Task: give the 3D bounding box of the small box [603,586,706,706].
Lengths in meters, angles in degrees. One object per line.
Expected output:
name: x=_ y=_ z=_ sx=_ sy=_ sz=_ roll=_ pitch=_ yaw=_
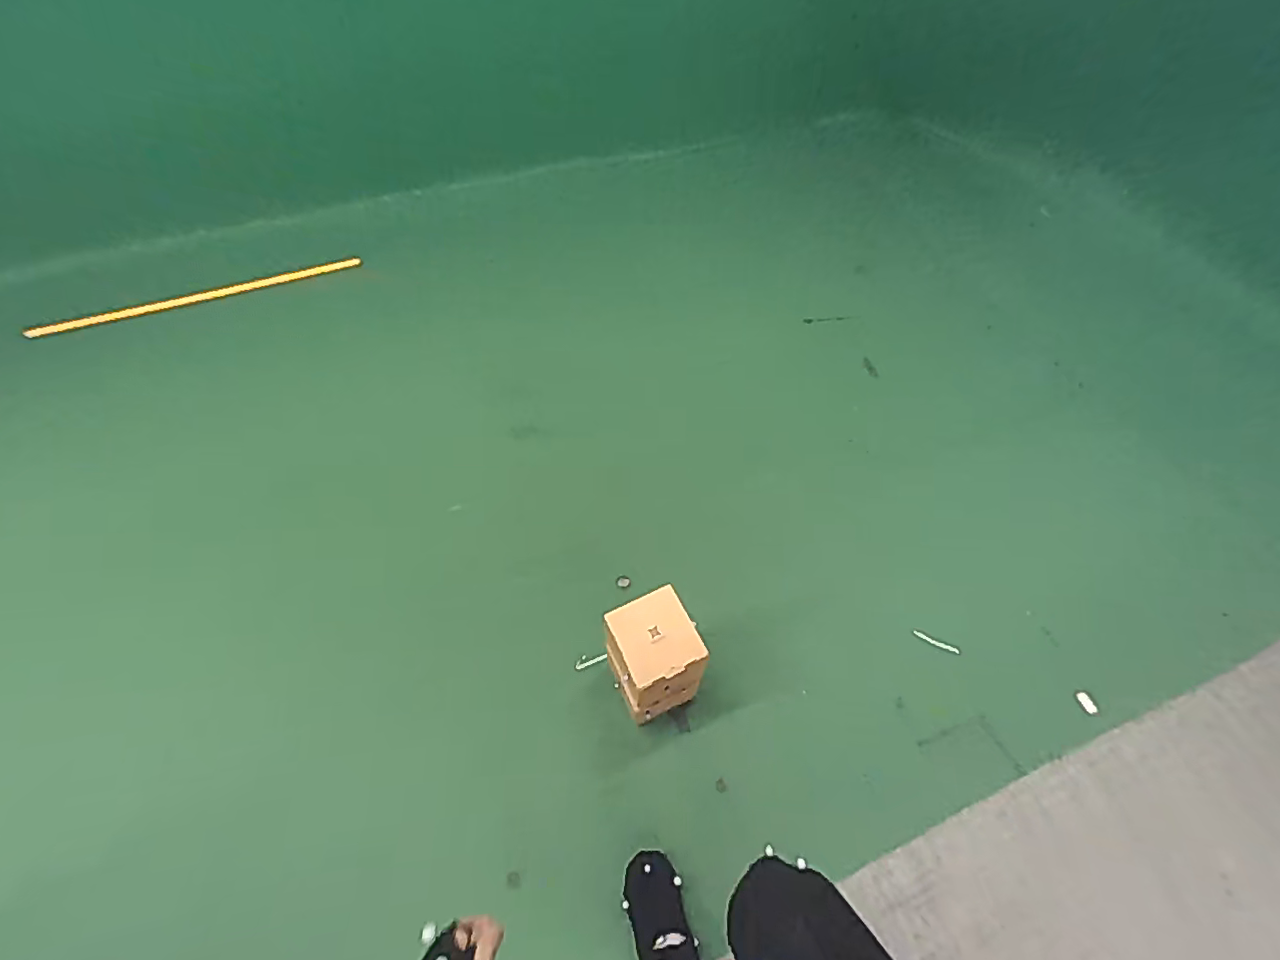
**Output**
small box: x=0.024 y=0.372 z=1.199 sx=0.168 sy=0.176 sz=0.179 roll=-22 pitch=59 yaw=-16
